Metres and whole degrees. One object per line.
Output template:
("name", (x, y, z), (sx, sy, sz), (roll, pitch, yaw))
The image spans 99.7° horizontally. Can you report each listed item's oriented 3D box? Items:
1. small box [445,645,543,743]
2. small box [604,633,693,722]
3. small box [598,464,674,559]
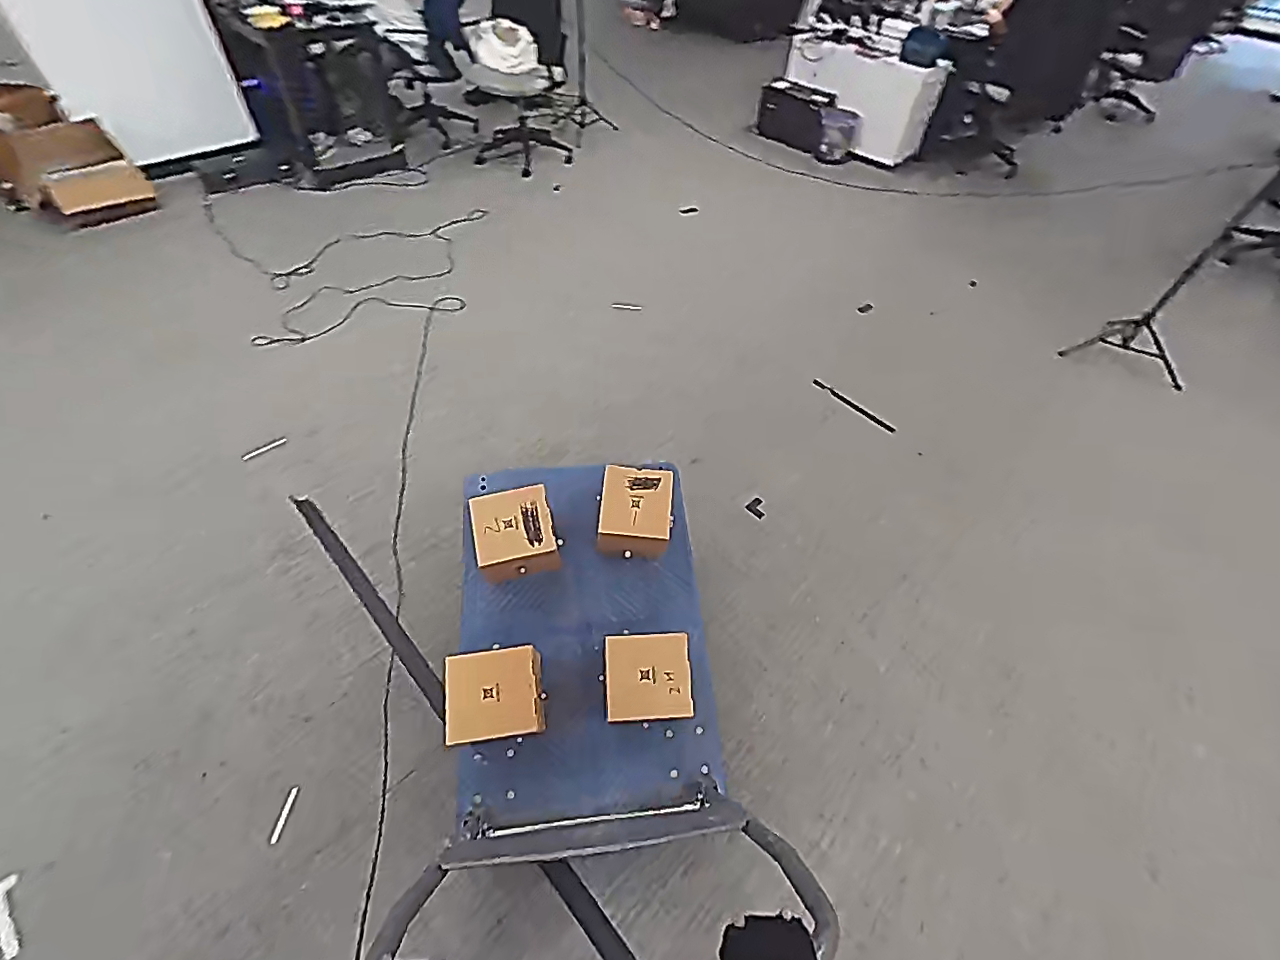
("small box", (-0.303, 0.455, 1.140), (0.179, 0.176, 0.168), (-5, 66, -10))
("small box", (0.012, 0.433, 1.177), (0.179, 0.176, 0.168), (-1, 66, -5))
("small box", (-0.014, 0.082, 1.336), (0.168, 0.176, 0.179), (6, 66, -2))
